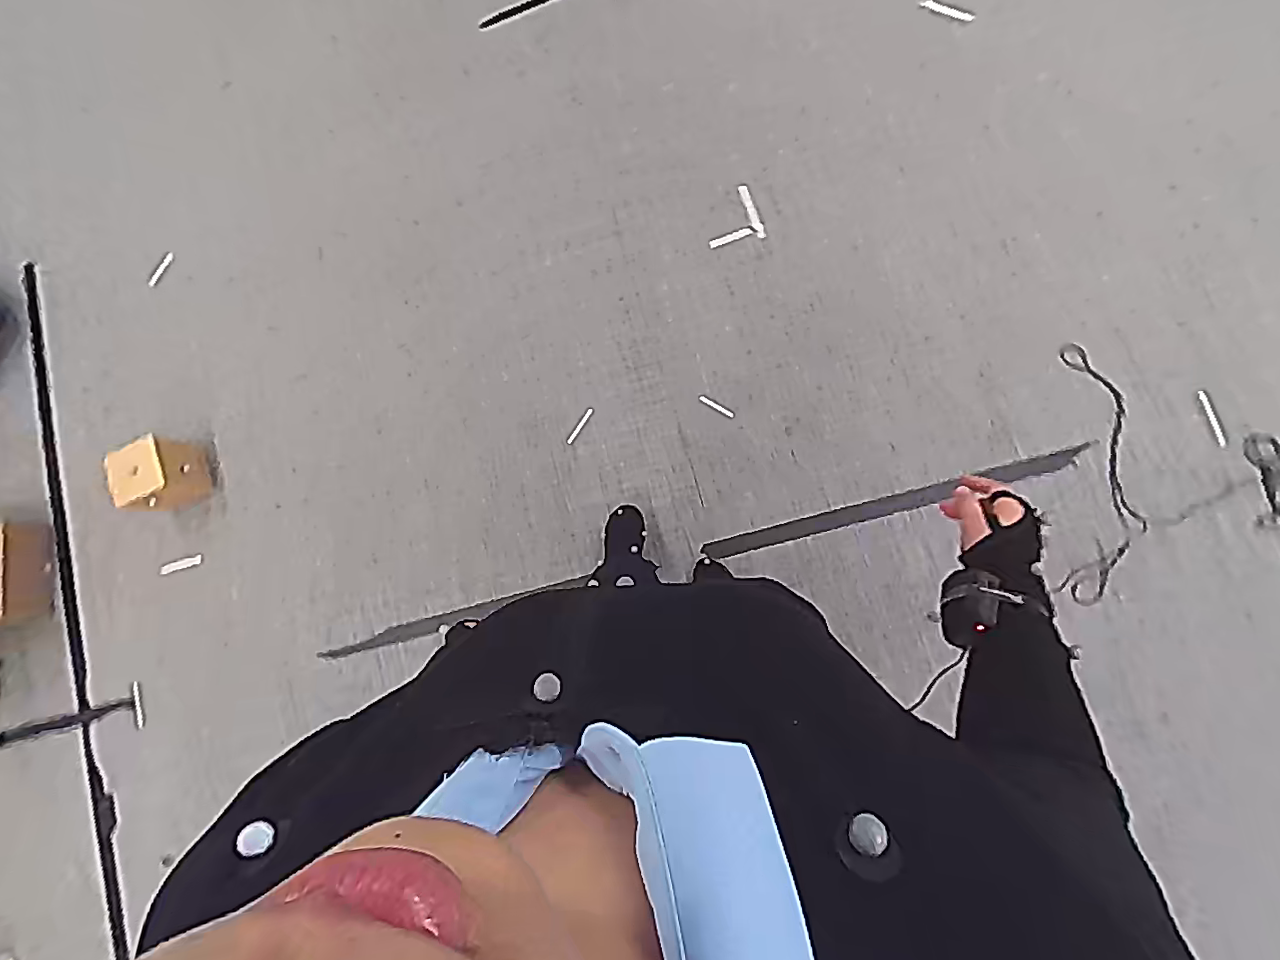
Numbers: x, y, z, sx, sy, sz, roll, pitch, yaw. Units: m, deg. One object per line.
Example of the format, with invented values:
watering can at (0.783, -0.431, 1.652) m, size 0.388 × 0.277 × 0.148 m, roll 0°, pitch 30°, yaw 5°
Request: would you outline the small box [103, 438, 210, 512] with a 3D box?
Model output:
small box at (-1.471, -0.010, 1.660) m, size 0.179 × 0.176 × 0.168 m, roll -24°, pitch 81°, yaw 5°
